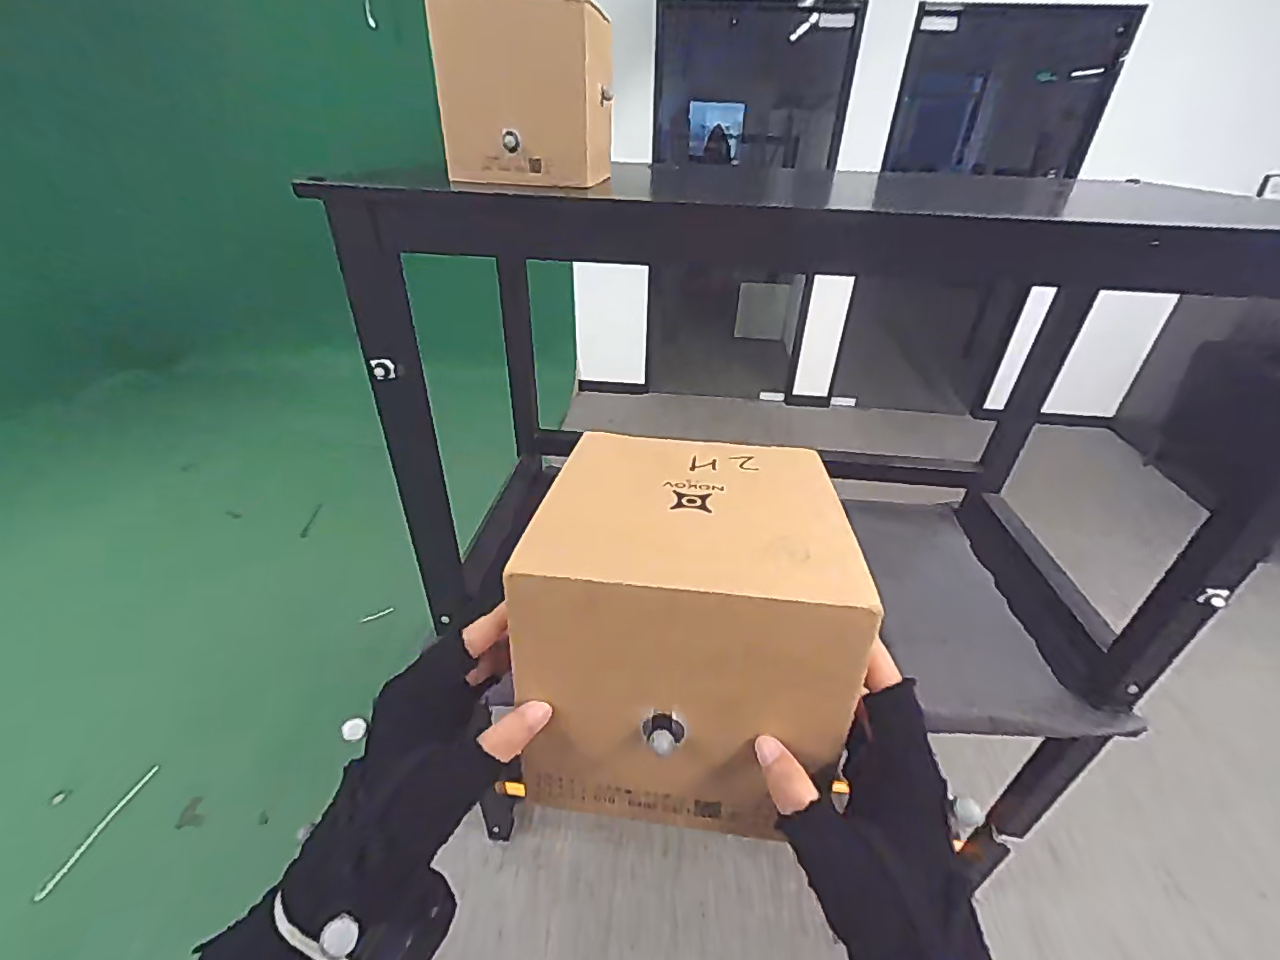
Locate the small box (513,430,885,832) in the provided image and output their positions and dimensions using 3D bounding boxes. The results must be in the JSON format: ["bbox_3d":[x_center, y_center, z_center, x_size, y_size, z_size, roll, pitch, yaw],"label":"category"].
[{"bbox_3d":[0.032,0.082,0.342,0.168,0.176,0.179,6,27,5],"label":"small box"}]
